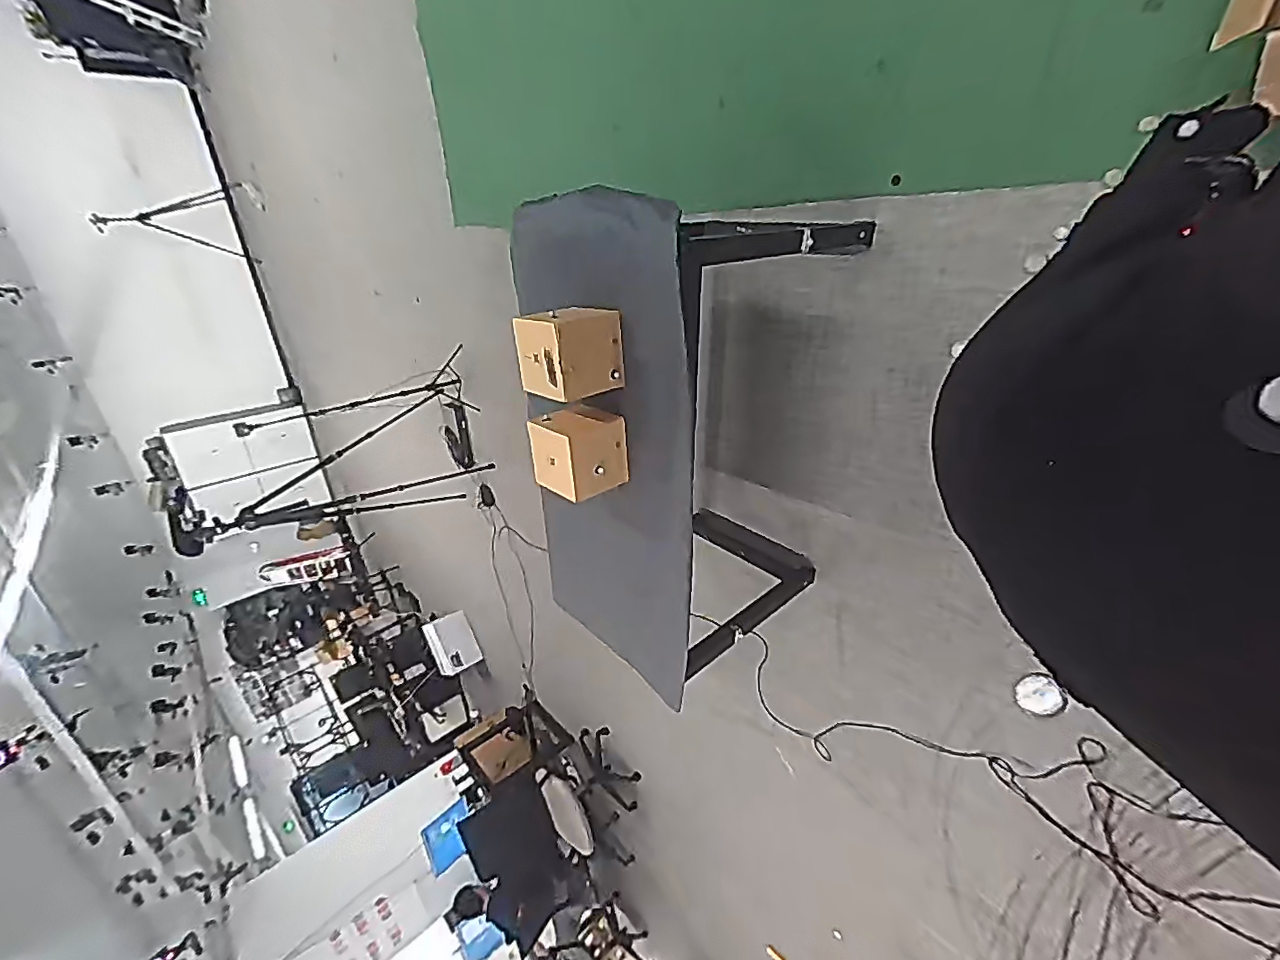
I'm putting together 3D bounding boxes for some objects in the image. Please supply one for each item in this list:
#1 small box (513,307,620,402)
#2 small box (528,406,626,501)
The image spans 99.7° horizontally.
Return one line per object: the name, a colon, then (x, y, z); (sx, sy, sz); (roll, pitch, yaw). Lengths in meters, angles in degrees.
small box: (-0.156, -0.286, 1.202); (0.179, 0.176, 0.168); (23, 126, 45)
small box: (-0.145, -0.072, 1.311); (0.179, 0.176, 0.168); (23, 126, 45)
